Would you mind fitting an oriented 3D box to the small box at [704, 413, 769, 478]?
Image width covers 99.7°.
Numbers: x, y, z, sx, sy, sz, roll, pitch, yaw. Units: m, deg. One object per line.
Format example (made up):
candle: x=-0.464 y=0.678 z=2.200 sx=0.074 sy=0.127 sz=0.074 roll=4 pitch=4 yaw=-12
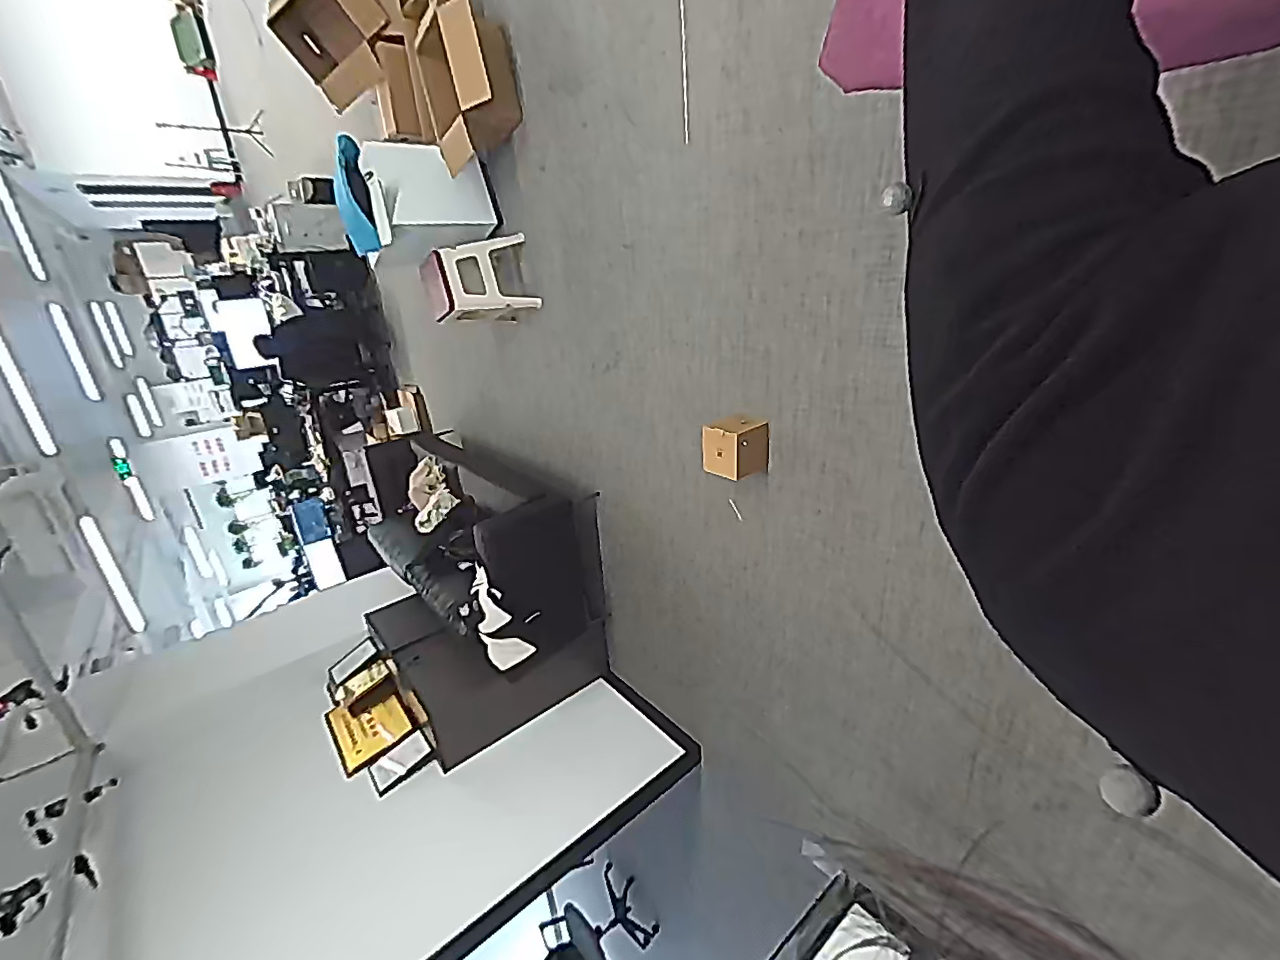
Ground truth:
small box: x=0.350 y=-0.130 z=1.959 sx=0.168 sy=0.176 sz=0.179 roll=22 pitch=123 yaw=47
